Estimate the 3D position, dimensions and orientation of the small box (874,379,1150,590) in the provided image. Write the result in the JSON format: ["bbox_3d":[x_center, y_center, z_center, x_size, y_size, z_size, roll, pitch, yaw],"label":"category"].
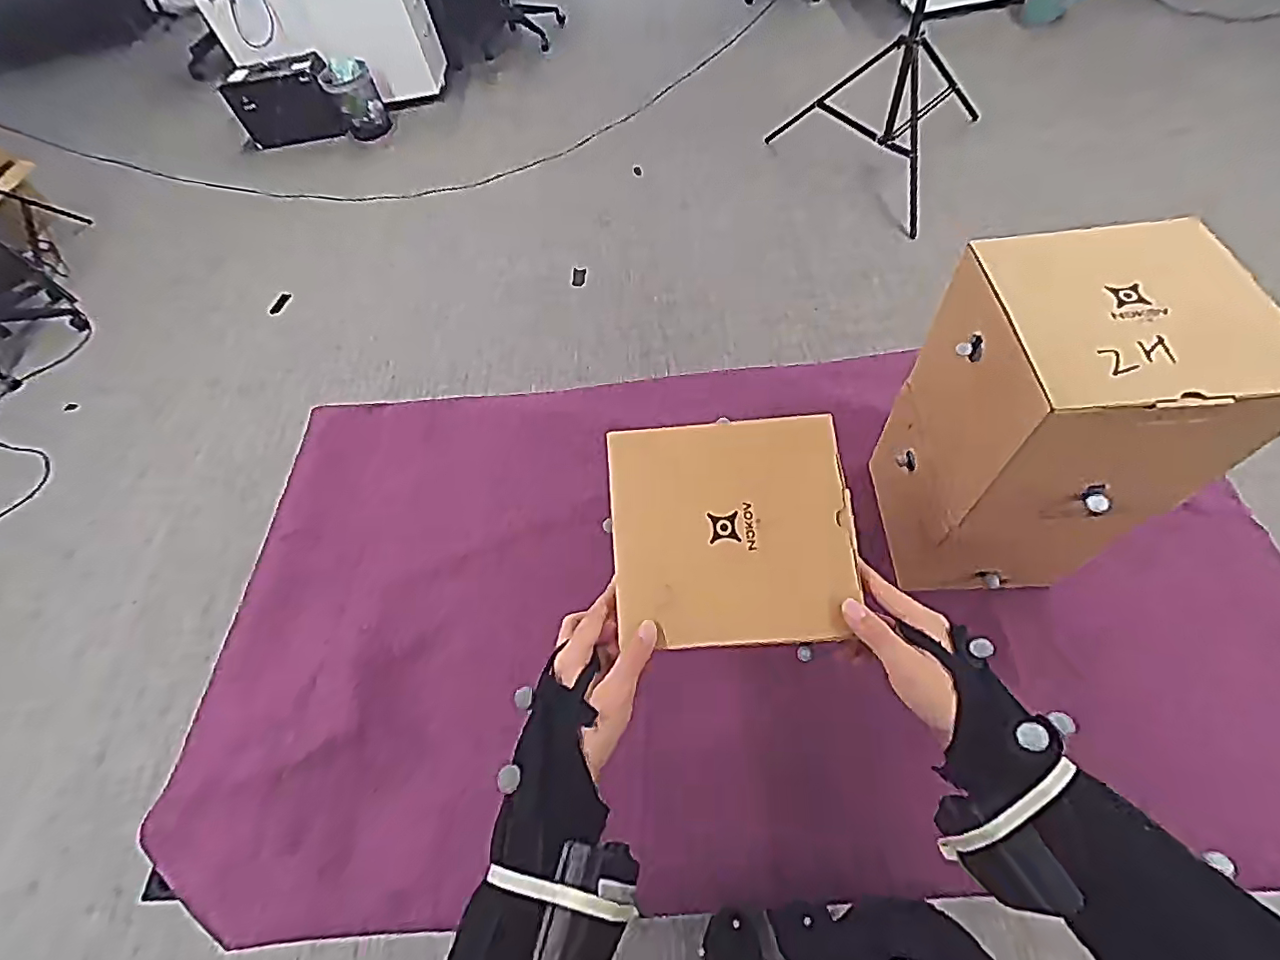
[{"bbox_3d":[0.369,0.006,0.584,0.168,0.176,0.179,-3,58,7],"label":"small box"}]

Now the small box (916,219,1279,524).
[{"bbox_3d":[0.351,-0.080,0.444,0.168,0.176,0.179,-4,58,7],"label":"small box"}]

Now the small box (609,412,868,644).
[{"bbox_3d":[0.072,0.054,0.473,0.179,0.176,0.168,-4,74,2],"label":"small box"}]
